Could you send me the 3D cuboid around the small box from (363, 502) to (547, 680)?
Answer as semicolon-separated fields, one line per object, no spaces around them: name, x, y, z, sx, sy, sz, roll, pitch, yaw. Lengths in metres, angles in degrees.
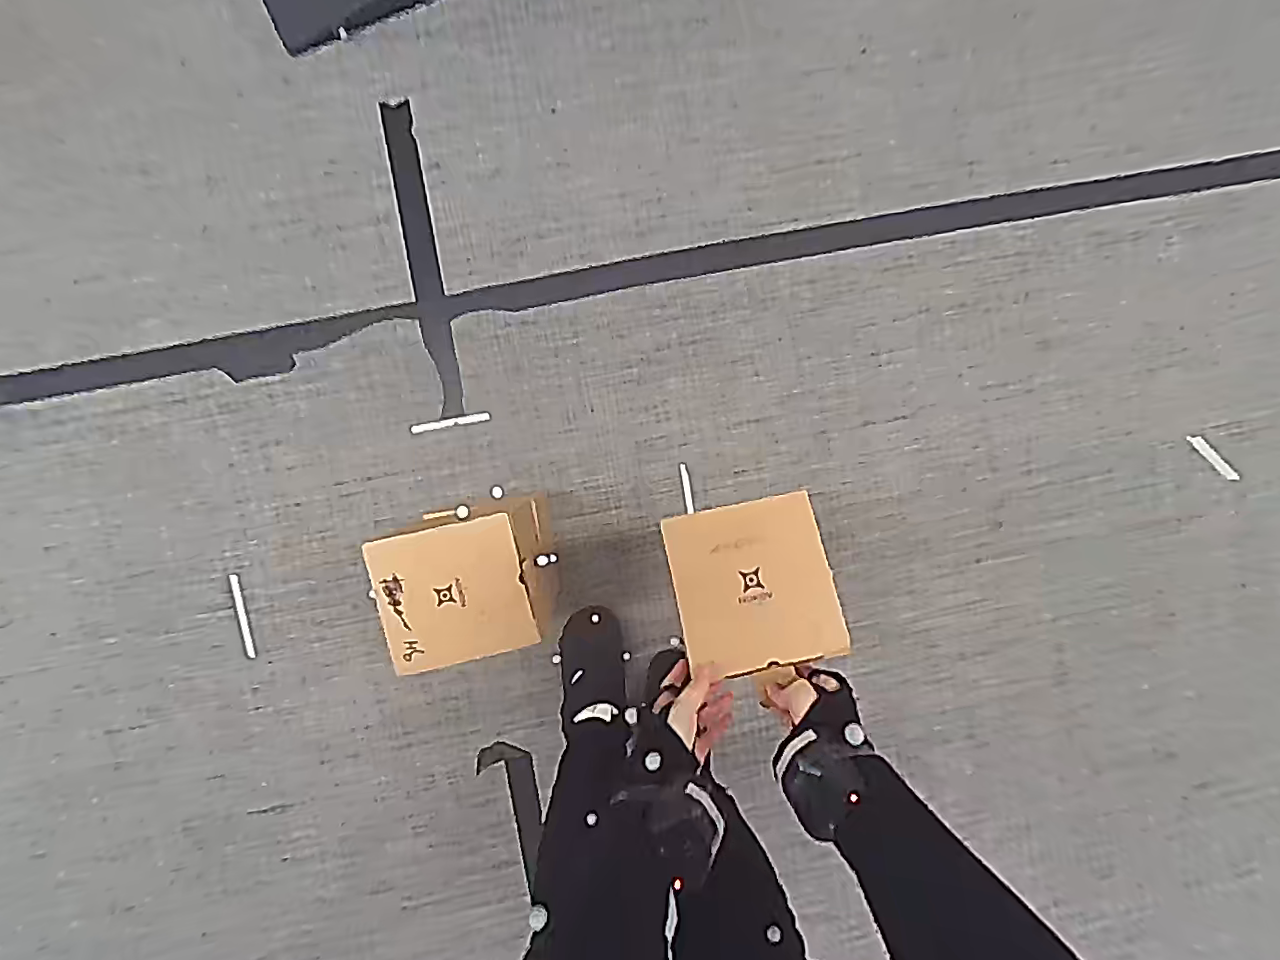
small box;-0.222;0.129;0.702;0.179;0.176;0.168;-12;94;-4

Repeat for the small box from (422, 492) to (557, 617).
small box;-0.229;0.120;0.866;0.168;0.176;0.179;-8;94;-4

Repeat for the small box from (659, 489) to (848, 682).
small box;0.120;0.126;0.640;0.168;0.176;0.179;-11;74;-1
